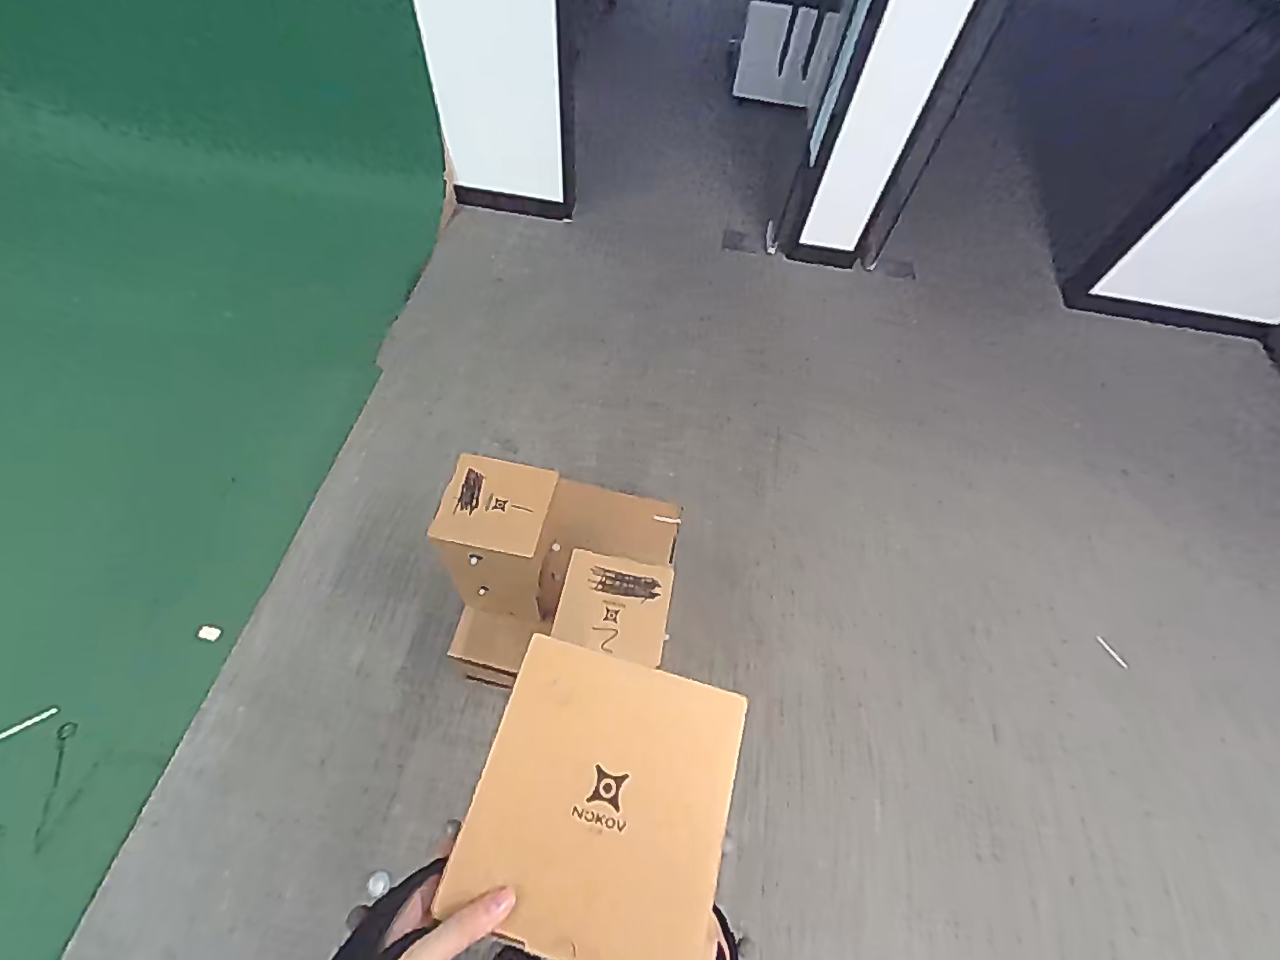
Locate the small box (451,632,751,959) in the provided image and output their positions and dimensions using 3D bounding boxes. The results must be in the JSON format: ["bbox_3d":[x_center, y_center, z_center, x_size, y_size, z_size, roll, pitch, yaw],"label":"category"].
[{"bbox_3d":[-0.024,0.242,0.432,0.168,0.176,0.179,15,65,2],"label":"small box"}]

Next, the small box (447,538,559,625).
[{"bbox_3d":[-0.265,0.170,1.090,0.168,0.176,0.179,12,57,2],"label":"small box"}]

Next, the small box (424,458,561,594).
[{"bbox_3d":[-0.245,0.086,0.948,0.179,0.176,0.168,11,58,2],"label":"small box"}]

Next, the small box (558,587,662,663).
[{"bbox_3d":[-0.066,0.321,1.018,0.179,0.176,0.168,11,57,0],"label":"small box"}]
